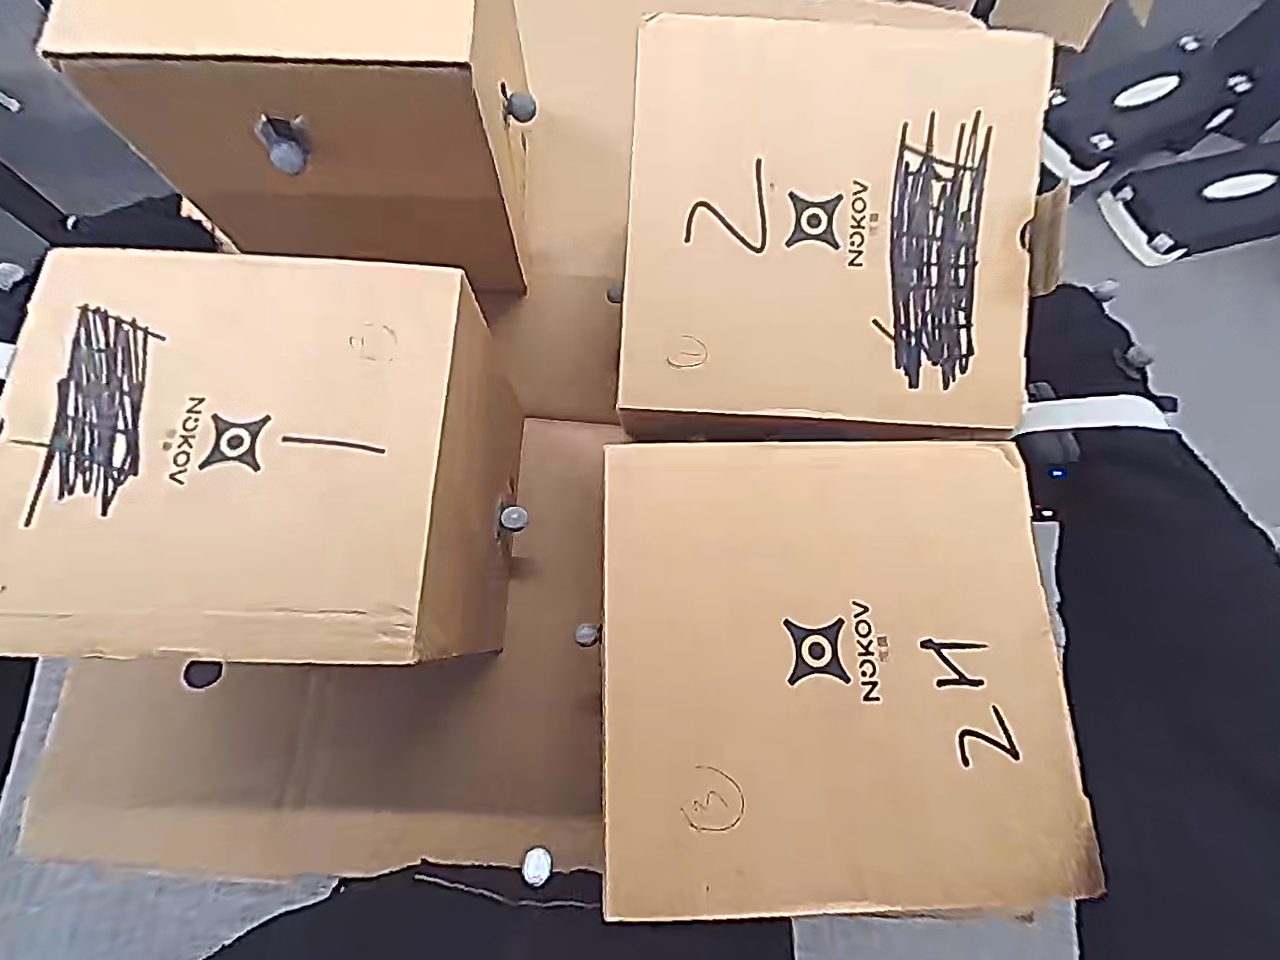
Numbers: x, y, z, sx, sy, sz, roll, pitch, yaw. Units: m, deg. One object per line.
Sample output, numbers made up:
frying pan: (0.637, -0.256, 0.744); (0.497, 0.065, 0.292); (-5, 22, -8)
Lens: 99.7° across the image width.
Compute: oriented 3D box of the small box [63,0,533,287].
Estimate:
small box: (-0.164, -0.236, 0.329); (0.179, 0.176, 0.168); (0, 77, -2)
